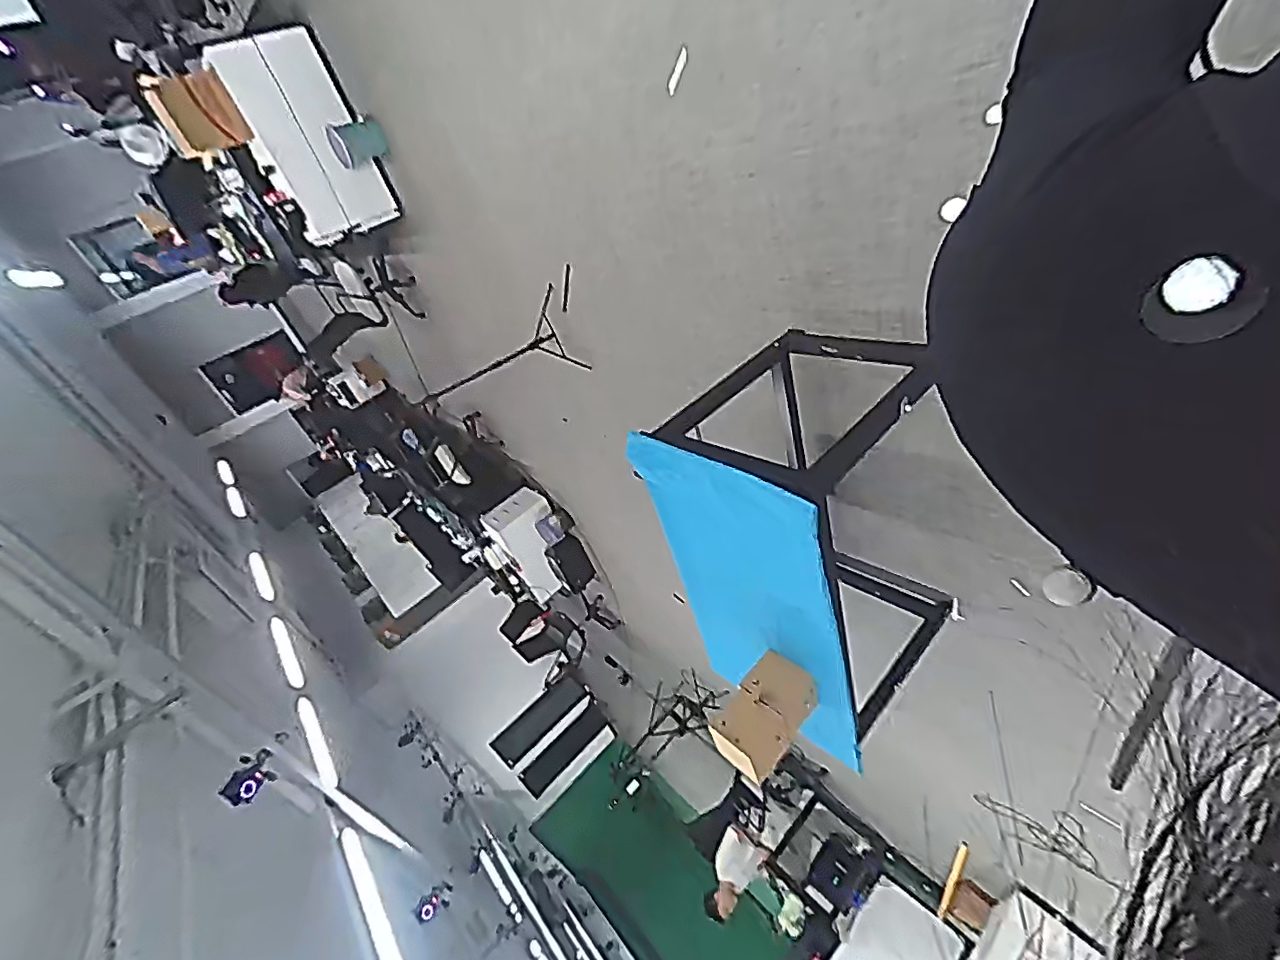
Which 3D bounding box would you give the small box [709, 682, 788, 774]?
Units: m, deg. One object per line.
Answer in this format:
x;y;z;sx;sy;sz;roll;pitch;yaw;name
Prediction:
0.342;0.787;1.710;0.168;0.176;0.179;24;143;46;small box

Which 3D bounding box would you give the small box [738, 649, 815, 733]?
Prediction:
0.454;0.692;1.791;0.179;0.176;0.168;23;144;43;small box
